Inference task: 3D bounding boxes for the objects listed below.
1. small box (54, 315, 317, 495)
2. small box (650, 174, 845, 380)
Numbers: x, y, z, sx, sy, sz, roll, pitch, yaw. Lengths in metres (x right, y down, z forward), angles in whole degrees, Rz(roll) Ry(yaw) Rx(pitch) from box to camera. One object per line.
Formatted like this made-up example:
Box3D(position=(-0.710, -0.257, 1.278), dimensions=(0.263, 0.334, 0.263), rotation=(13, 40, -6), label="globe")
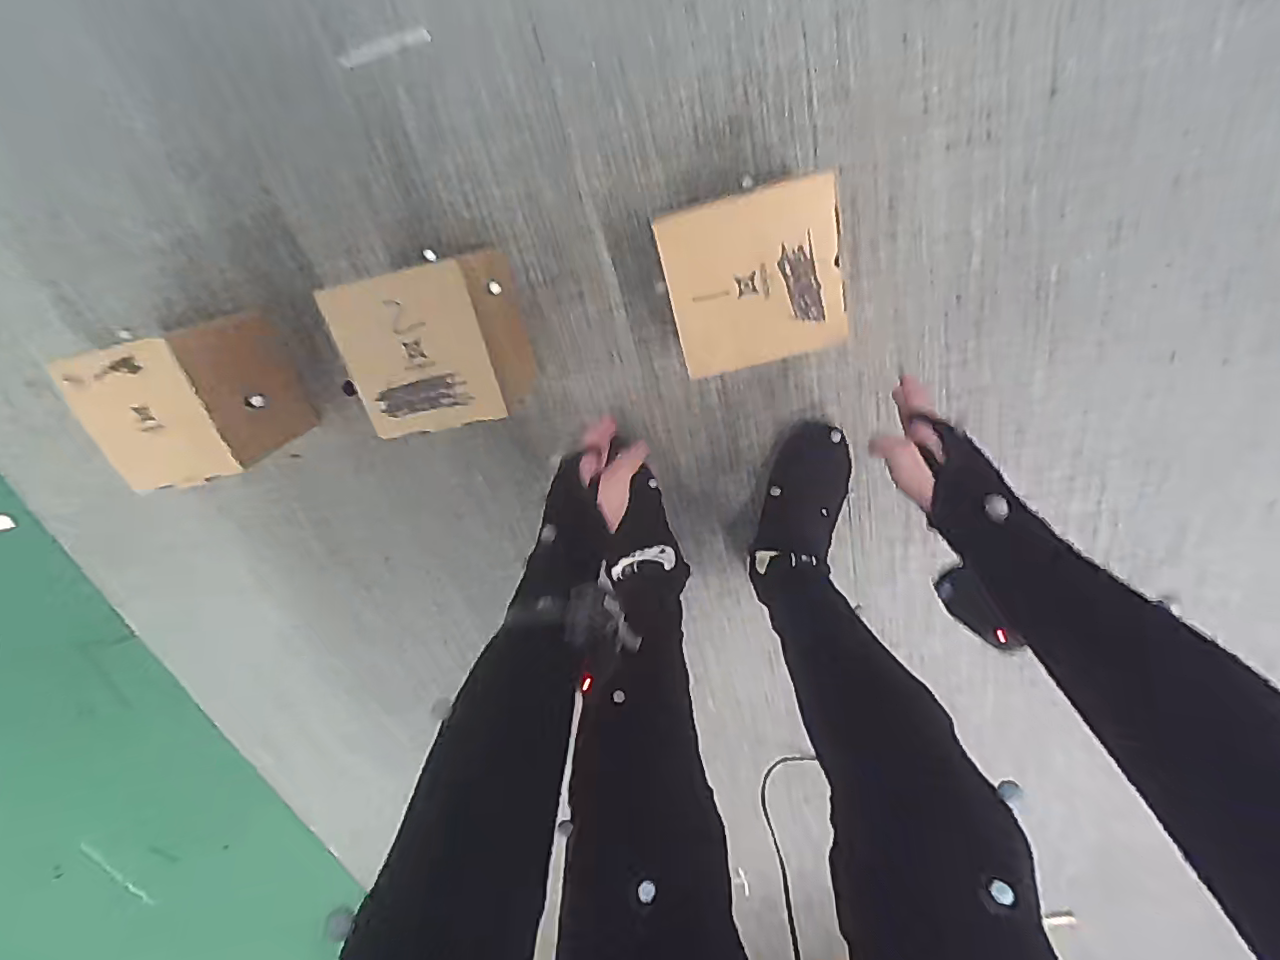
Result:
Box3D(position=(-0.582, -0.105, 0.725), dimensions=(0.168, 0.176, 0.179), rotation=(-10, 116, 9), label="small box")
Box3D(position=(0.116, -0.234, 0.616), dimensions=(0.179, 0.176, 0.168), rotation=(-12, 115, 10), label="small box")
